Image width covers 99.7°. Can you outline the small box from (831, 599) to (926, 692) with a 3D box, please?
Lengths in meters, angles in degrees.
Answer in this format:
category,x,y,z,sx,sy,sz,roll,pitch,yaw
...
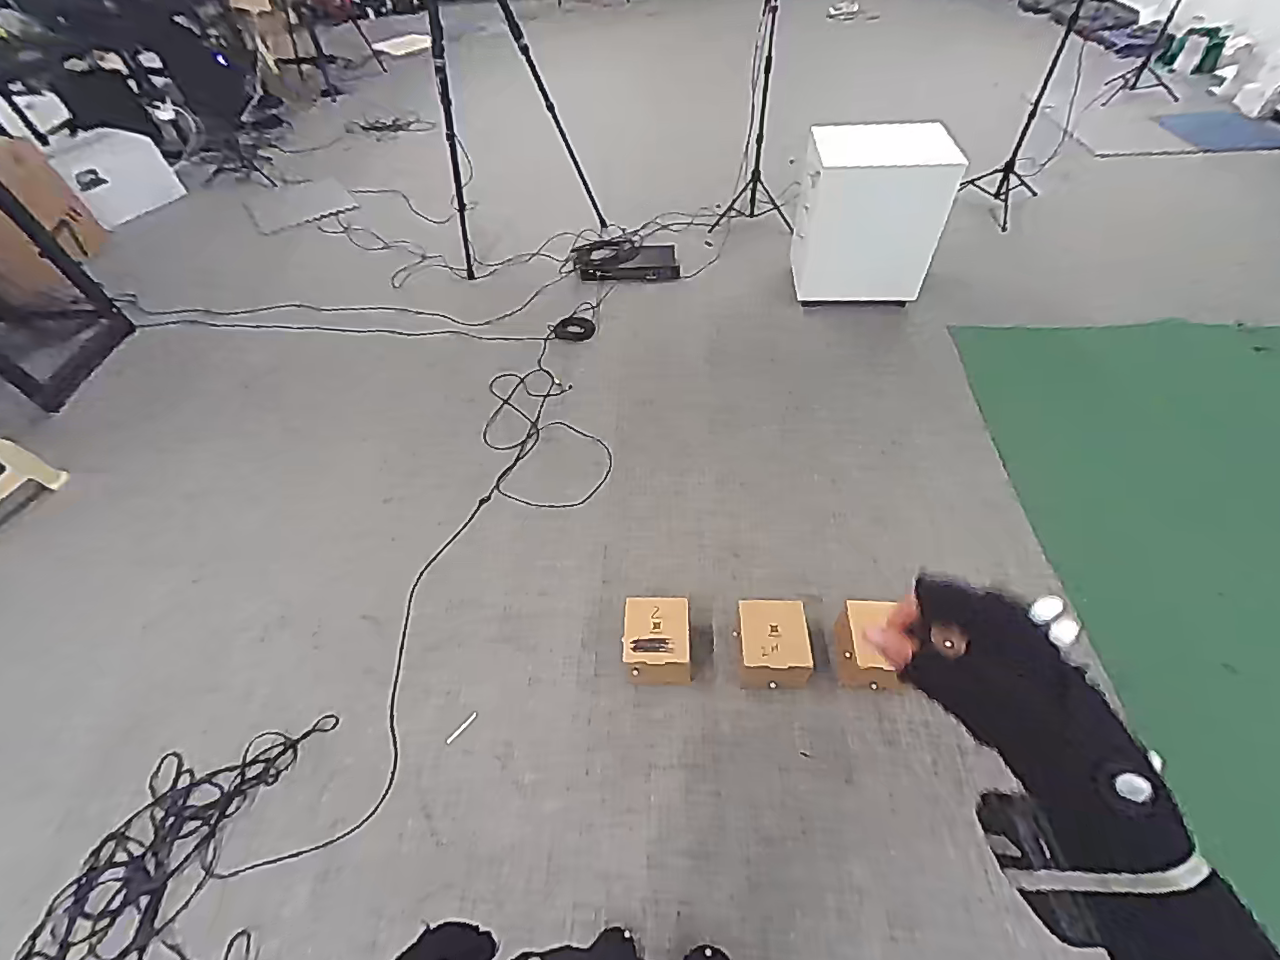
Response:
category,x,y,z,sx,sy,sz,roll,pitch,yaw
small box,0.602,0.427,1.391,0.168,0.176,0.179,2,52,5

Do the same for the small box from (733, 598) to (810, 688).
category,x,y,z,sx,sy,sz,roll,pitch,yaw
small box,0.334,0.425,1.407,0.168,0.176,0.179,-1,52,5
